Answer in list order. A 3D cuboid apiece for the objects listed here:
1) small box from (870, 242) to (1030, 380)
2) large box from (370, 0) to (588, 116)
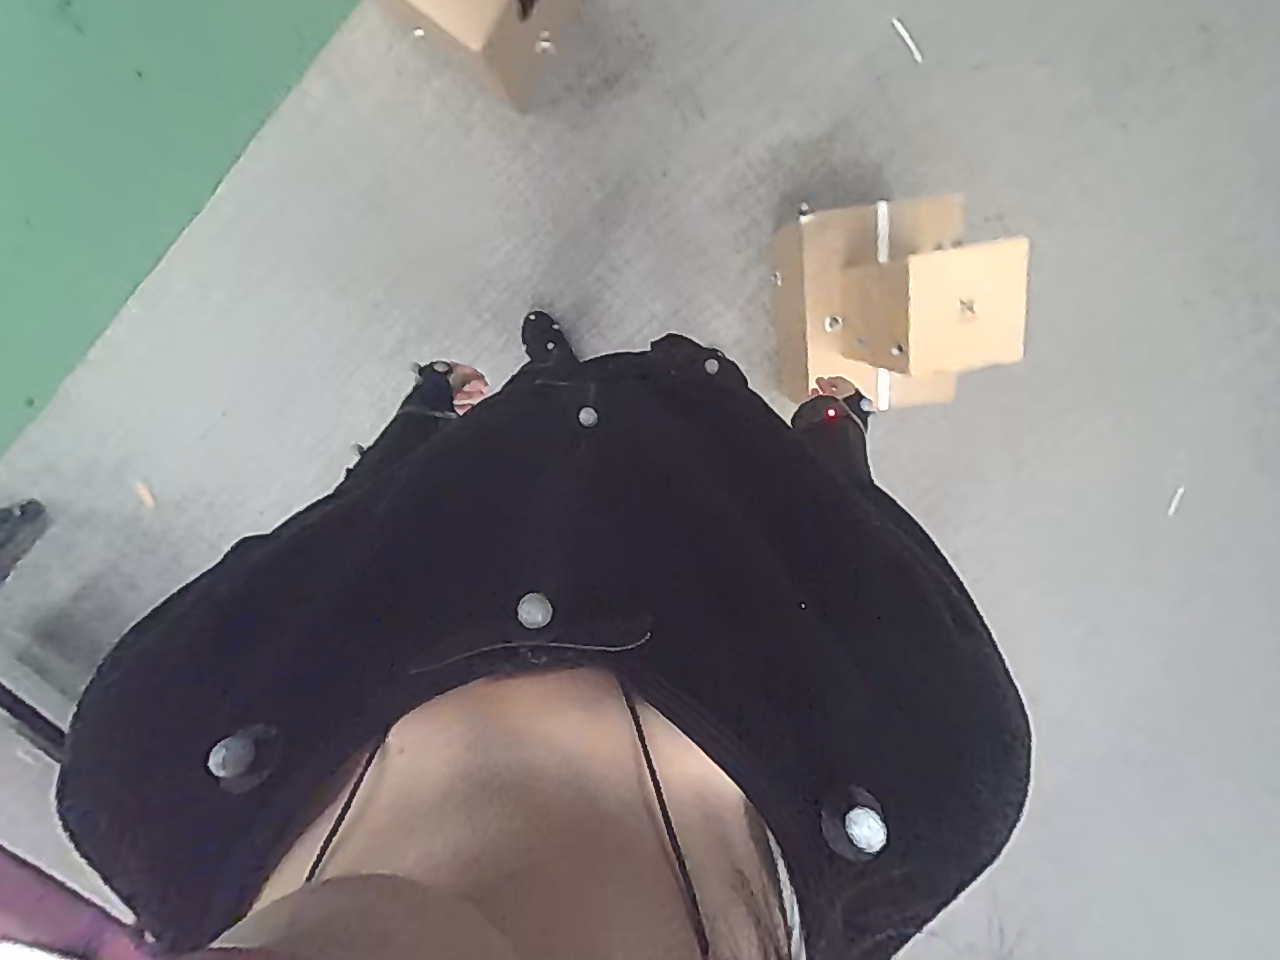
[{"bbox_3d":[0.479,-0.264,0.861,0.168,0.176,0.179,-8,107,4],"label":"small box"},{"bbox_3d":[-0.356,-1.044,1.084,0.408,0.320,0.320,35,103,-7],"label":"large box"}]
